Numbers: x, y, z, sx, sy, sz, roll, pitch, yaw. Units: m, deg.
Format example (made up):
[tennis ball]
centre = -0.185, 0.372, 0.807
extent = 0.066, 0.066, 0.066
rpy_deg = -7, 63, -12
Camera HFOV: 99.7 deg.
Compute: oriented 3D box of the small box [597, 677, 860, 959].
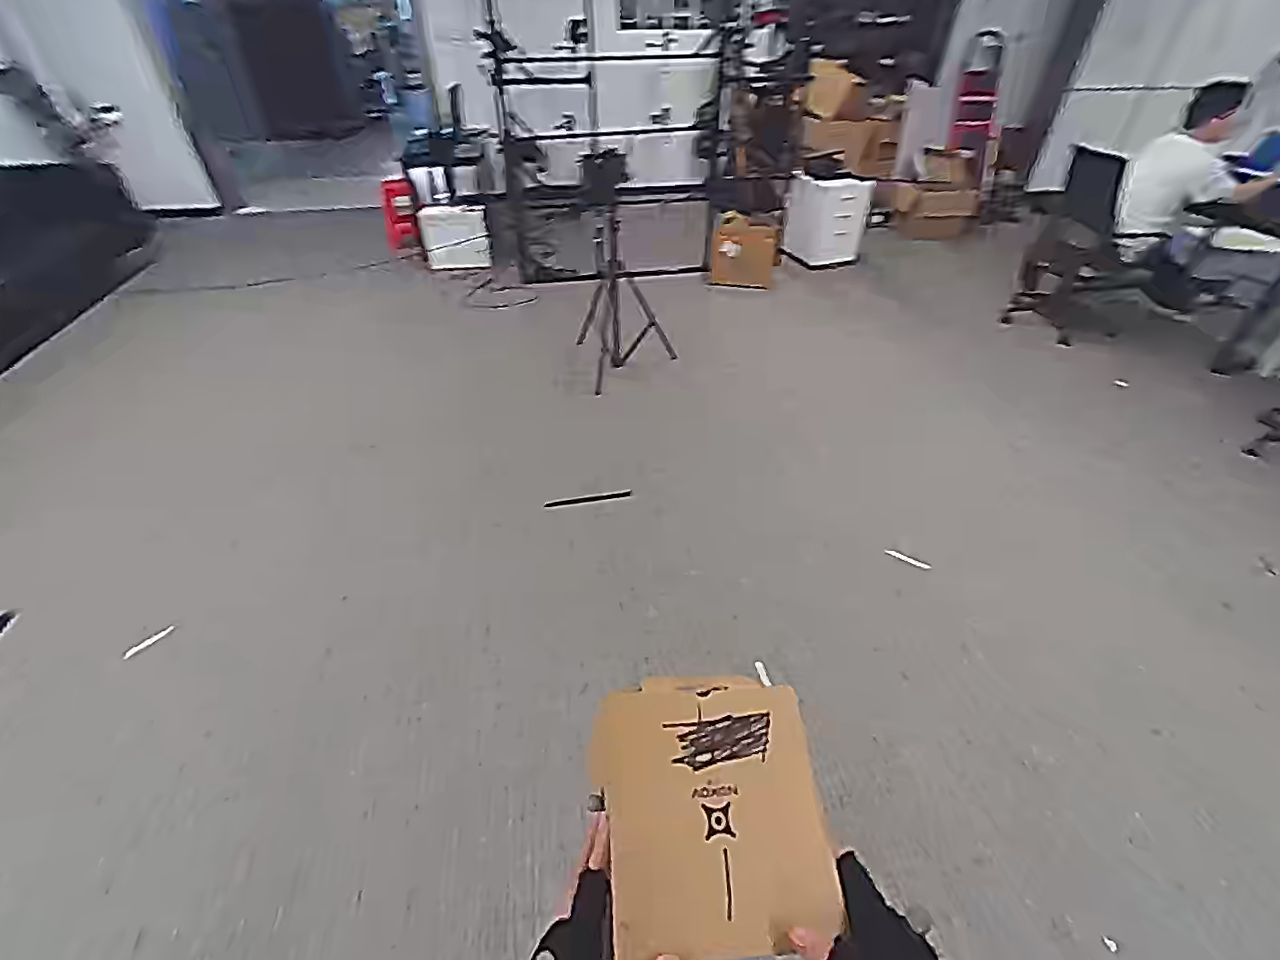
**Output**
[small box]
centre = 0.052, 0.283, 0.464
extent = 0.168, 0.176, 0.179
rpy_deg = 2, 55, -9
